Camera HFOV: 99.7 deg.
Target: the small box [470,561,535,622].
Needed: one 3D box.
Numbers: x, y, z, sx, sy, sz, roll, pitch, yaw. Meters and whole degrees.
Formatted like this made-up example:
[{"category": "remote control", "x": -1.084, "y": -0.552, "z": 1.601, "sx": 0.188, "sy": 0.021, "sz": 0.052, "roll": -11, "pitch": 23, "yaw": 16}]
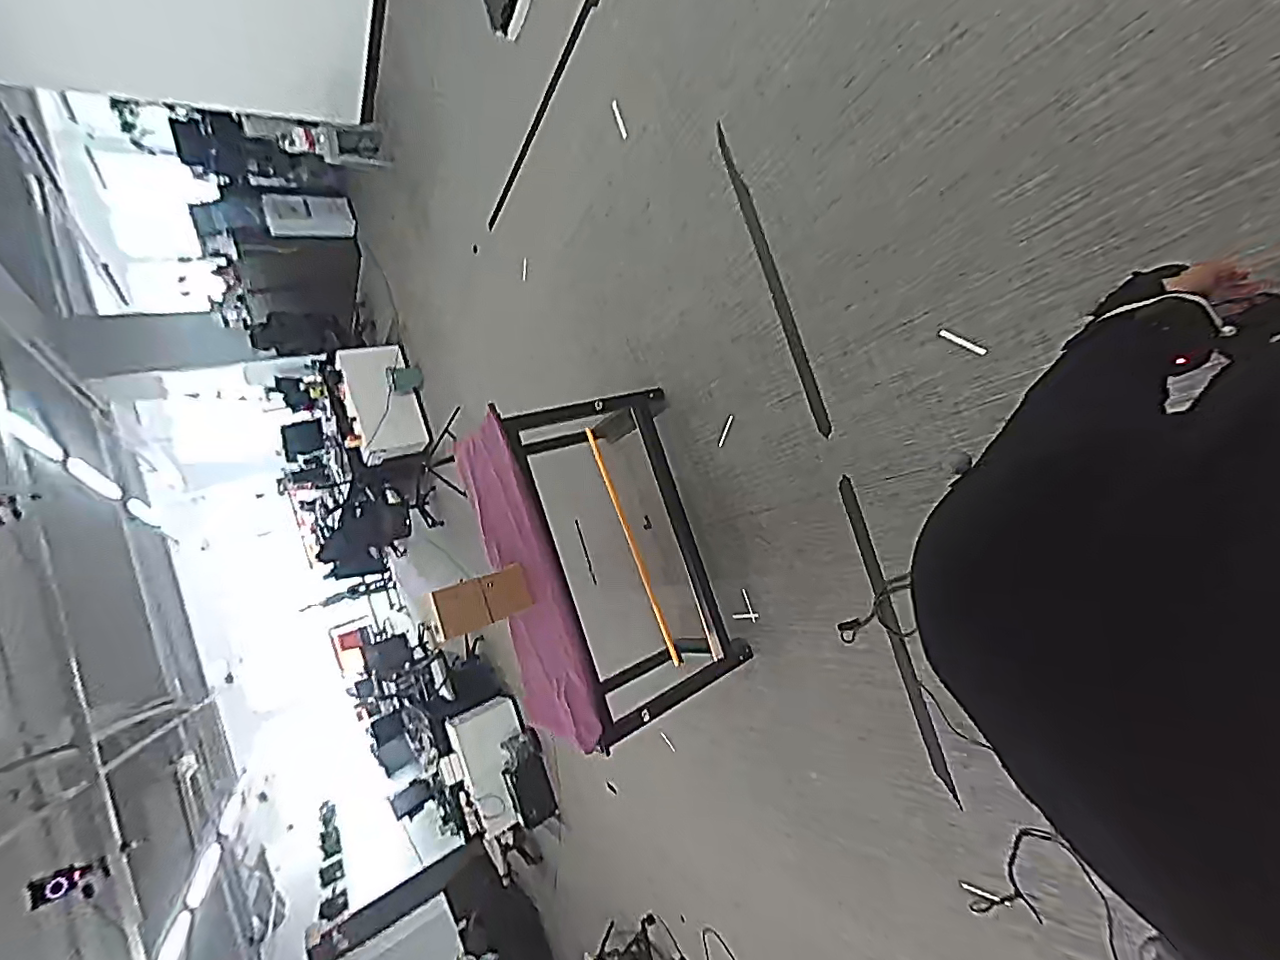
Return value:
[{"category": "small box", "x": -0.512, "y": 0.416, "z": 2.018, "sx": 0.168, "sy": 0.176, "sz": 0.179, "roll": -24, "pitch": 84, "yaw": 57}]
